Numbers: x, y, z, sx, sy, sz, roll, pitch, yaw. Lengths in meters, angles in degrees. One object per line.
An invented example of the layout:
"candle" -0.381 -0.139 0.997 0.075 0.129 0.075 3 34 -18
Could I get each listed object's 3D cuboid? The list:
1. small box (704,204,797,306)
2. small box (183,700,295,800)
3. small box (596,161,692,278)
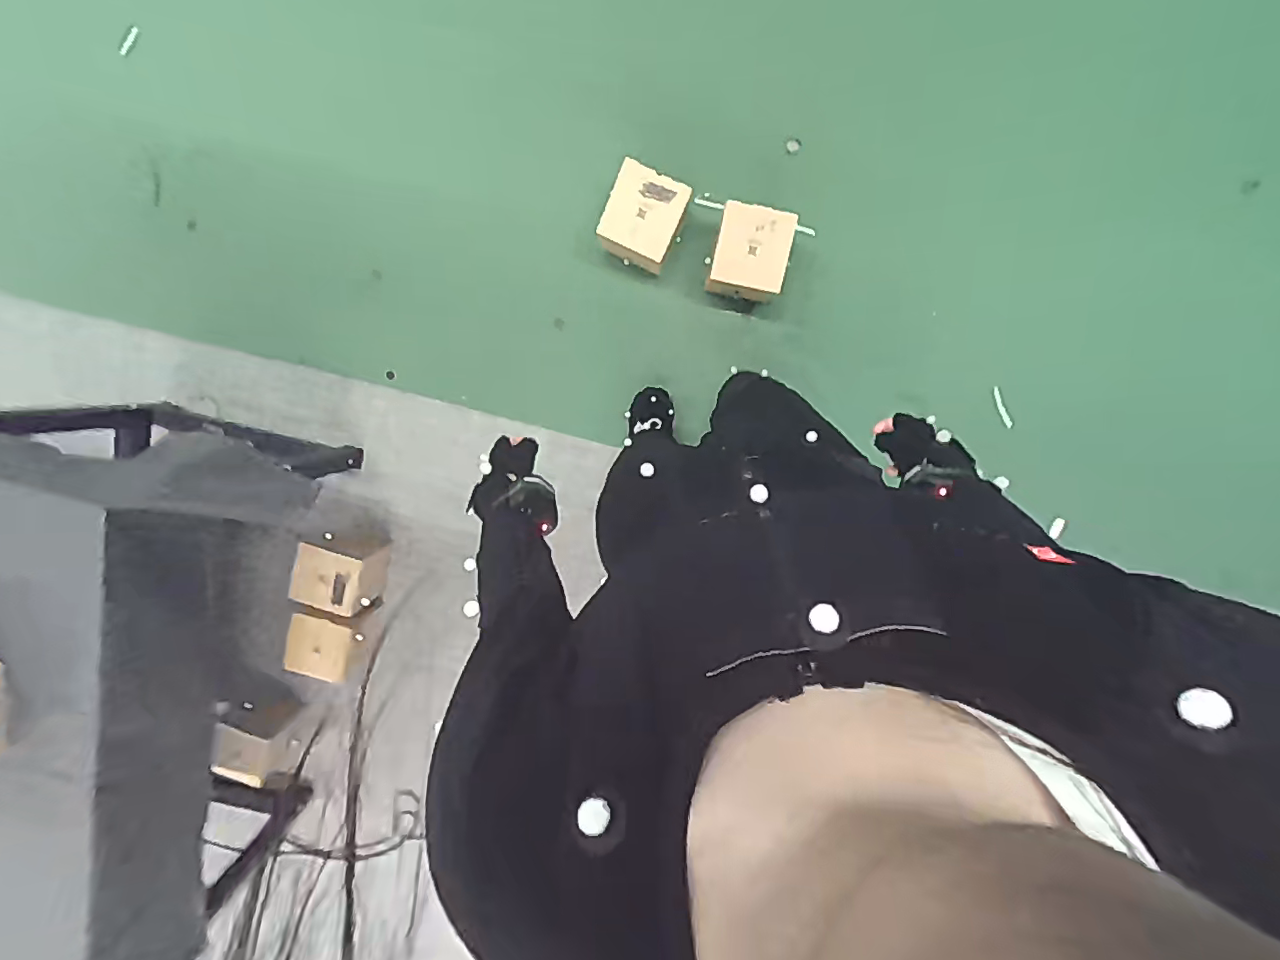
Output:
"small box" 0.254 -0.526 1.292 0.168 0.176 0.179 12 100 -2
"small box" -1.143 0.763 1.550 0.179 0.176 0.168 22 100 -2
"small box" 0.009 -0.607 1.286 0.168 0.176 0.179 25 101 -2
